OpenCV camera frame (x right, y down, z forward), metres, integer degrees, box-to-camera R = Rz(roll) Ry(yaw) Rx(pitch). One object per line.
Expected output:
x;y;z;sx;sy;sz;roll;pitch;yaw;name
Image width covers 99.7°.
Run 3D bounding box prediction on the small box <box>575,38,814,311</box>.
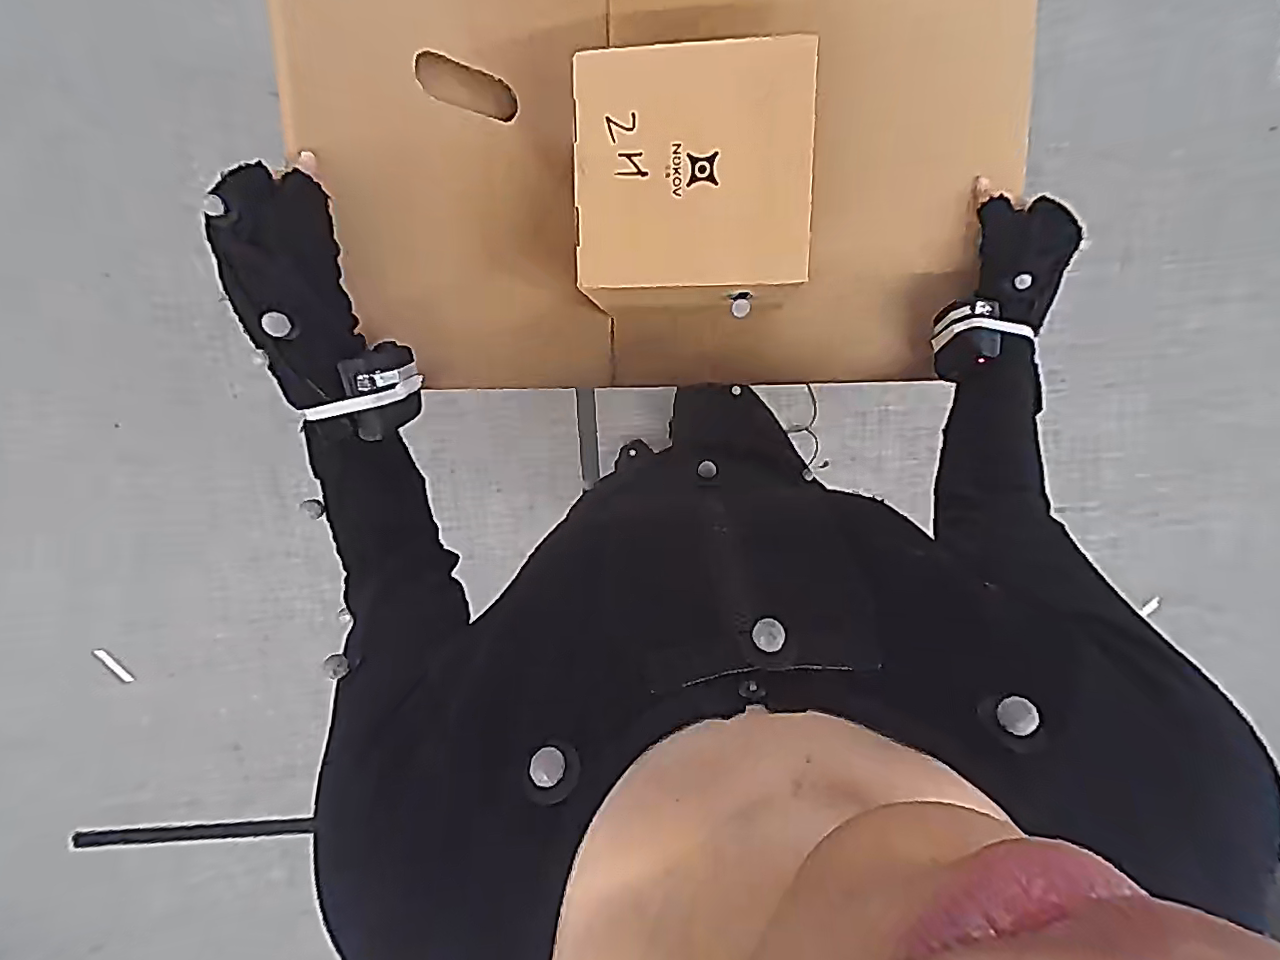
0.045;-0.249;0.483;0.179;0.176;0.168;2;99;7;small box
